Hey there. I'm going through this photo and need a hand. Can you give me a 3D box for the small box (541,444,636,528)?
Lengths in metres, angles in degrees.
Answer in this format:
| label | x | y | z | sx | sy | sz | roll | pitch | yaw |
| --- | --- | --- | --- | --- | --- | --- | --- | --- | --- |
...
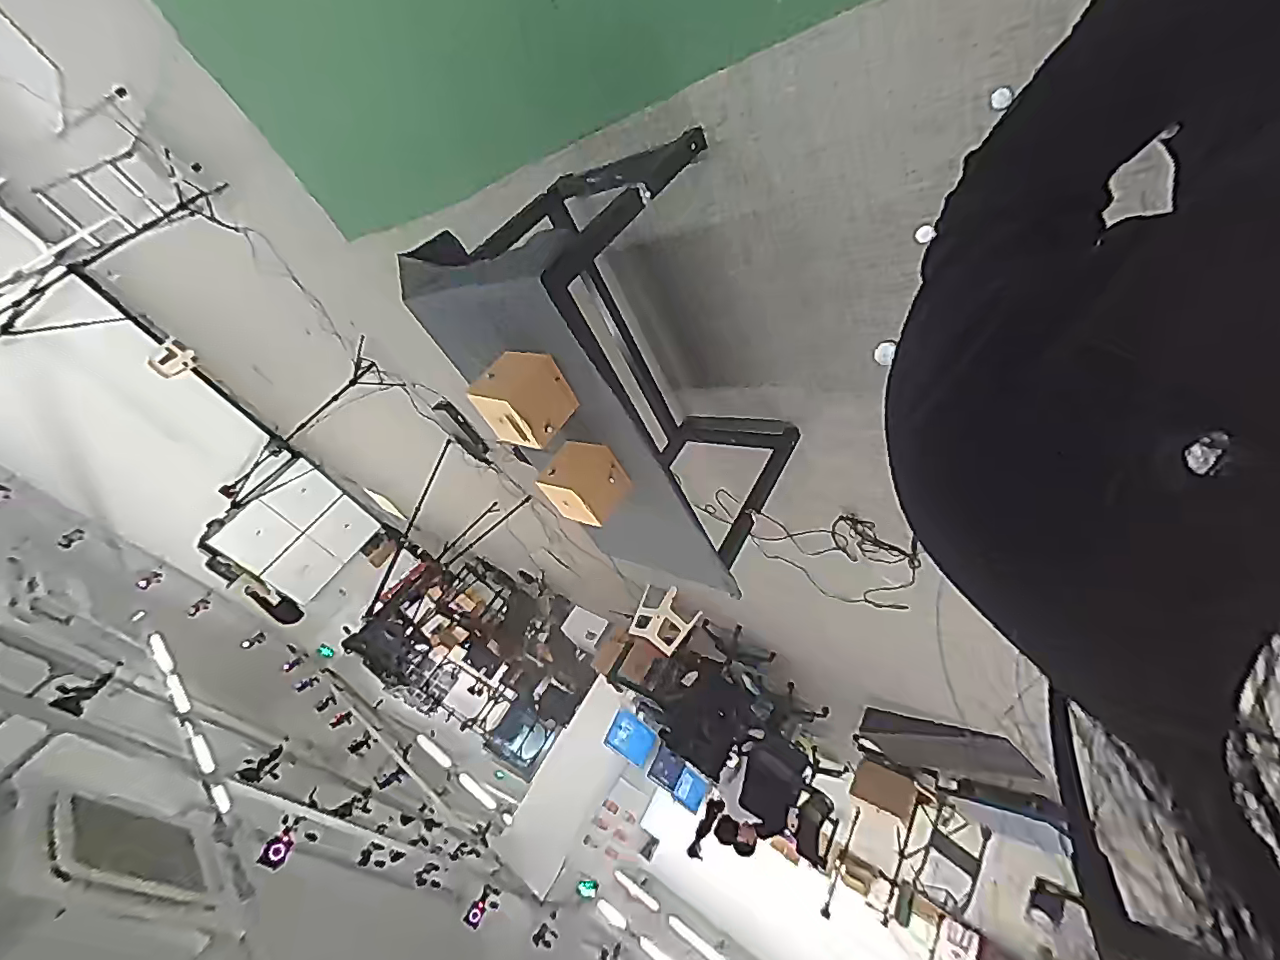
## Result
| label | x | y | z | sx | sy | sz | roll | pitch | yaw |
| --- | --- | --- | --- | --- | --- | --- | --- | --- | --- |
| small box | -0.145 | 0.012 | 1.577 | 0.179 | 0.176 | 0.168 | 10 | 145 | 42 |
